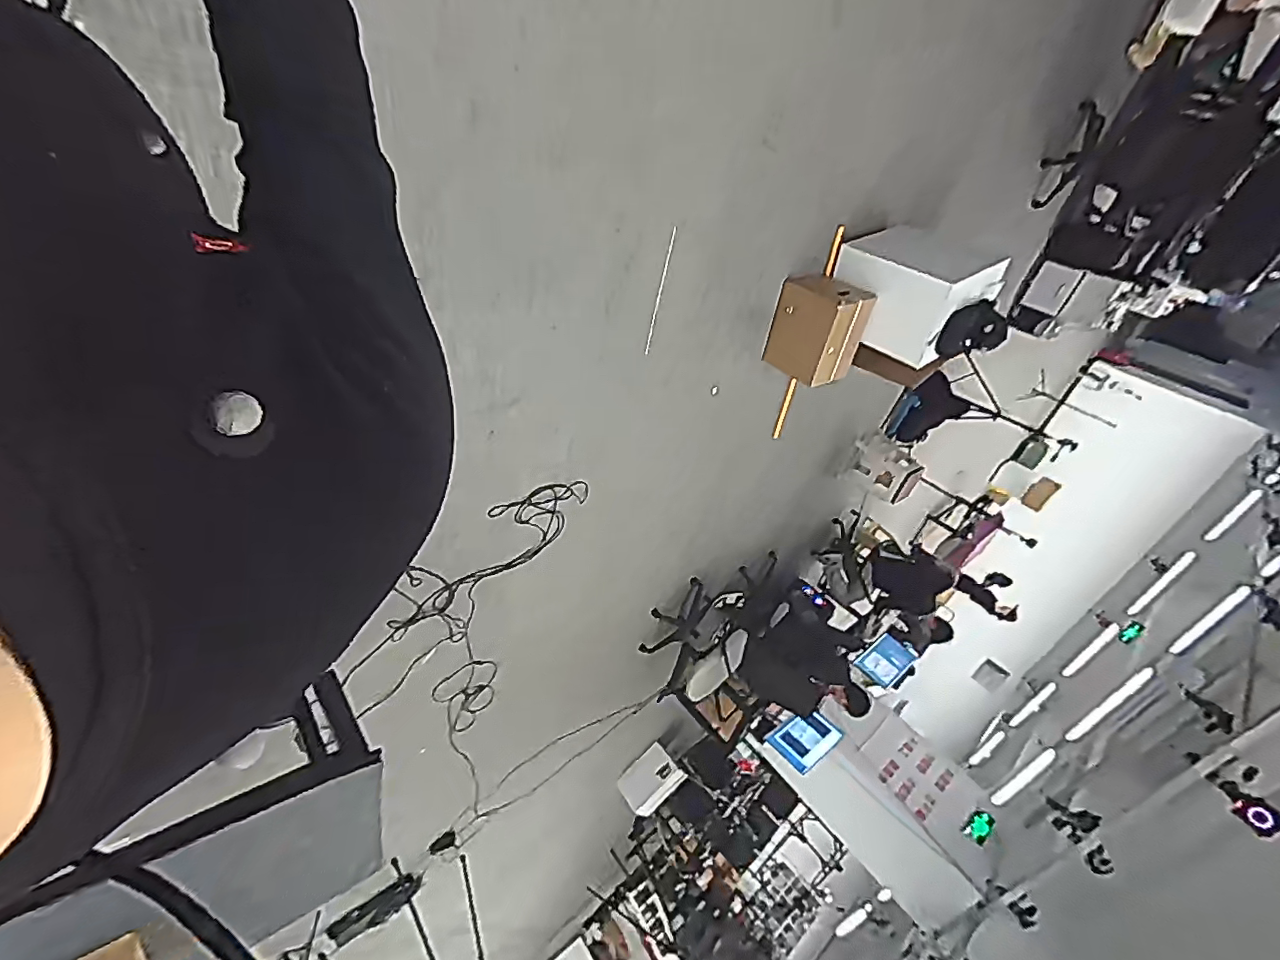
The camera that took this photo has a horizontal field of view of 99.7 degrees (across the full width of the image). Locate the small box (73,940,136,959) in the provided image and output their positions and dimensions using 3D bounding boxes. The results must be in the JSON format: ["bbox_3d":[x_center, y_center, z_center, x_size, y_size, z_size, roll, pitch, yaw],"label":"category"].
[{"bbox_3d":[-1.022,0.995,0.979,0.168,0.176,0.179,-13,132,-42],"label":"small box"}]
